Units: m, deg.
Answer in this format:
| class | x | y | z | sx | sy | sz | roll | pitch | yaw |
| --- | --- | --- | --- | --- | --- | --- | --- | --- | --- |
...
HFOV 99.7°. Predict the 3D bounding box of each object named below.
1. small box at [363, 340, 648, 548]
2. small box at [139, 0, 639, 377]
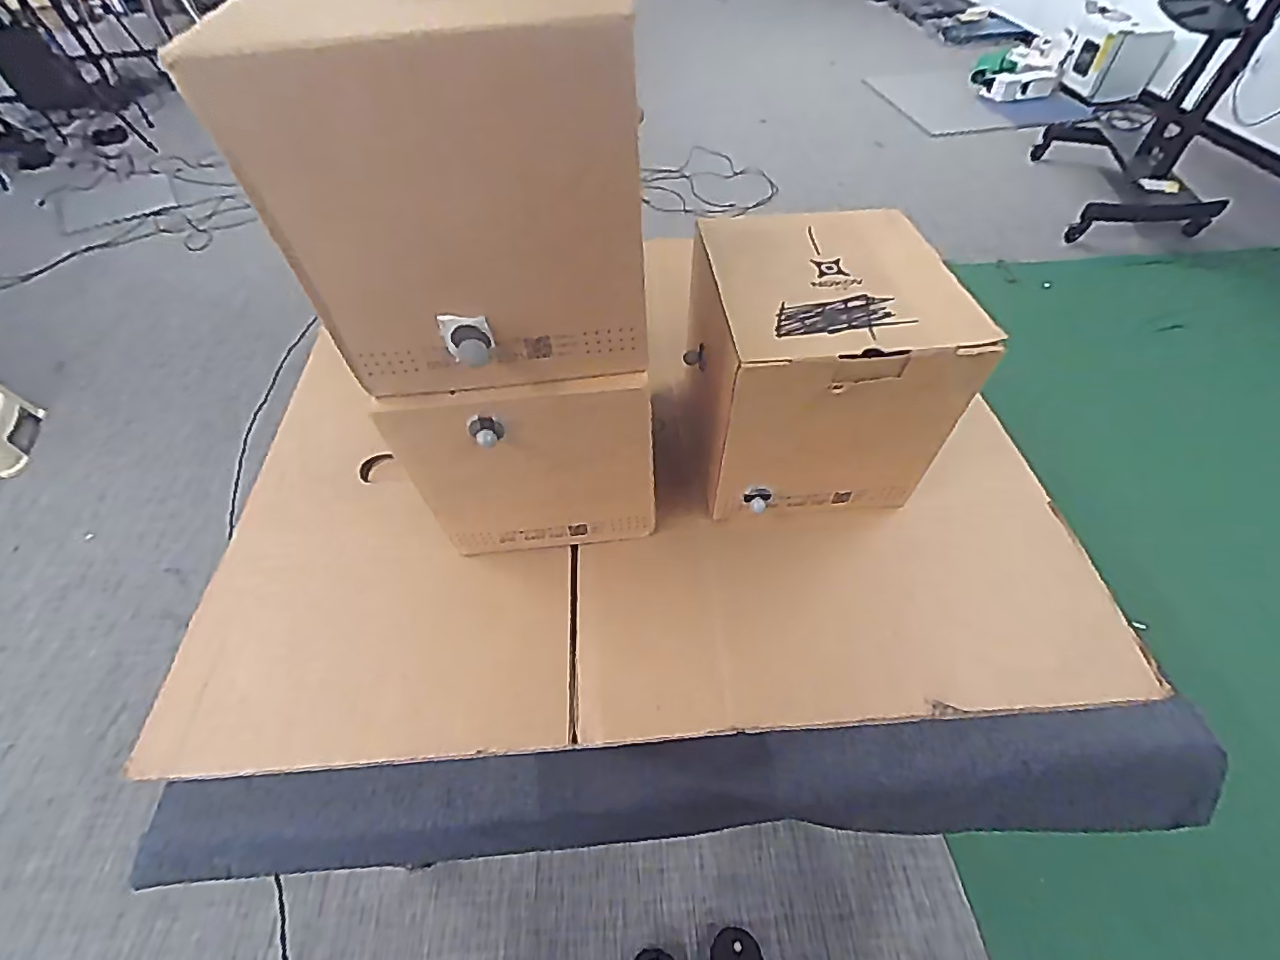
| class | x | y | z | sx | sy | sz | roll | pitch | yaw |
| --- | --- | --- | --- | --- | --- | --- | --- | --- | --- |
| small box | -0.084 | -0.067 | 0.431 | 0.168 | 0.176 | 0.179 | -6 | 52 | 0 |
| small box | -0.093 | -0.181 | 0.295 | 0.168 | 0.176 | 0.179 | -8 | 54 | -2 |
